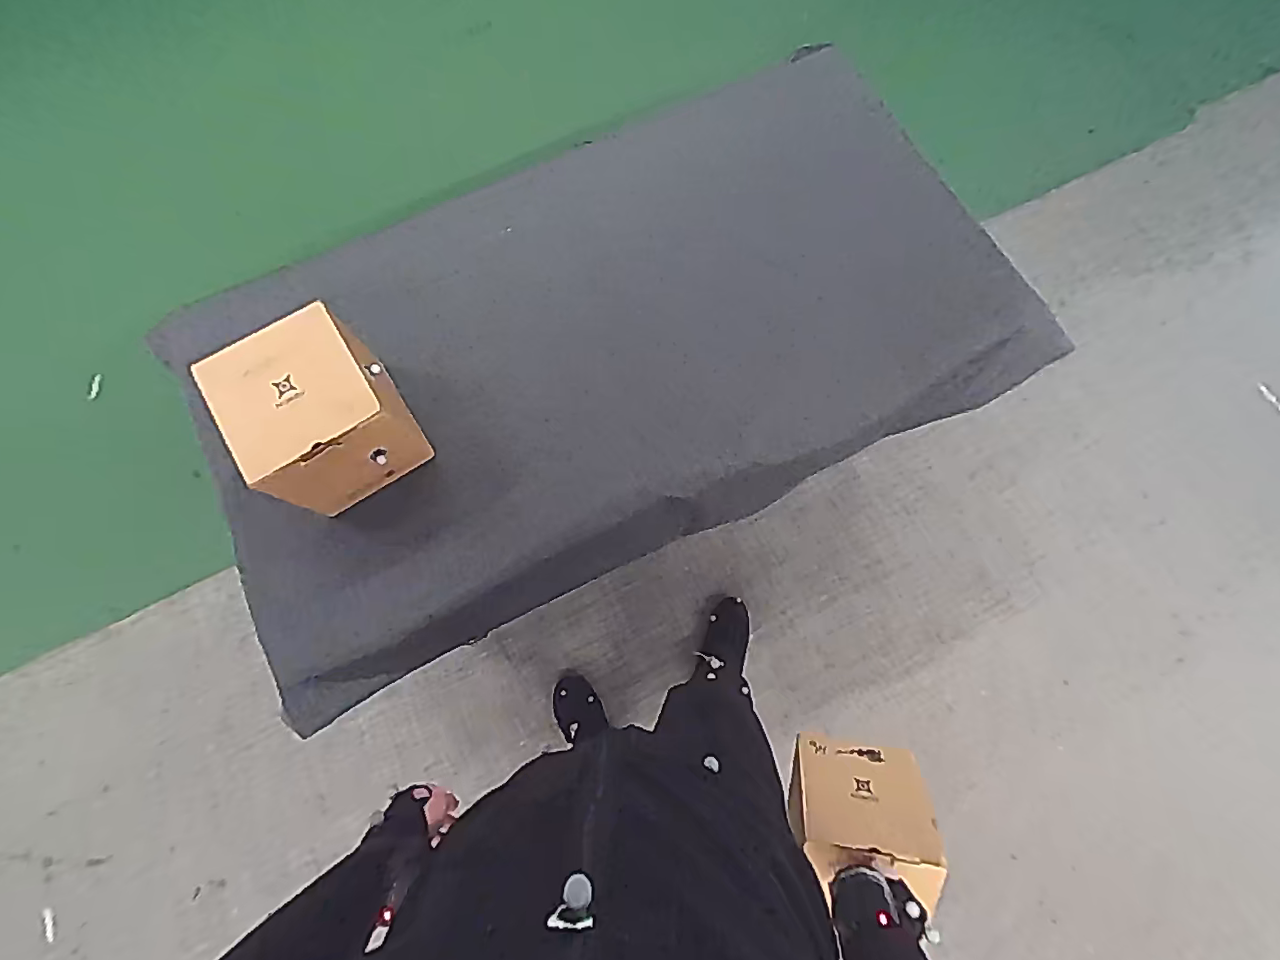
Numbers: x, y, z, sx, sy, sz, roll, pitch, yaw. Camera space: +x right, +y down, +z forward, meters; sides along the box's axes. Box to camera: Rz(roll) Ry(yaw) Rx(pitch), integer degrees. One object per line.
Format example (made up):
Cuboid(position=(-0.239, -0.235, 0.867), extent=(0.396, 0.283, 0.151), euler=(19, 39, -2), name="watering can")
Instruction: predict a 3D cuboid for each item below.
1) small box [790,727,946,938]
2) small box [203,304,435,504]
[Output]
Cuboid(position=(0.306, 0.492, 0.765), extent=(0.168, 0.179, 0.176), euler=(5, 112, 11), name="small box")
Cuboid(position=(-0.398, -0.084, 0.703), extent=(0.168, 0.176, 0.179), euler=(-33, 77, -10), name="small box")
